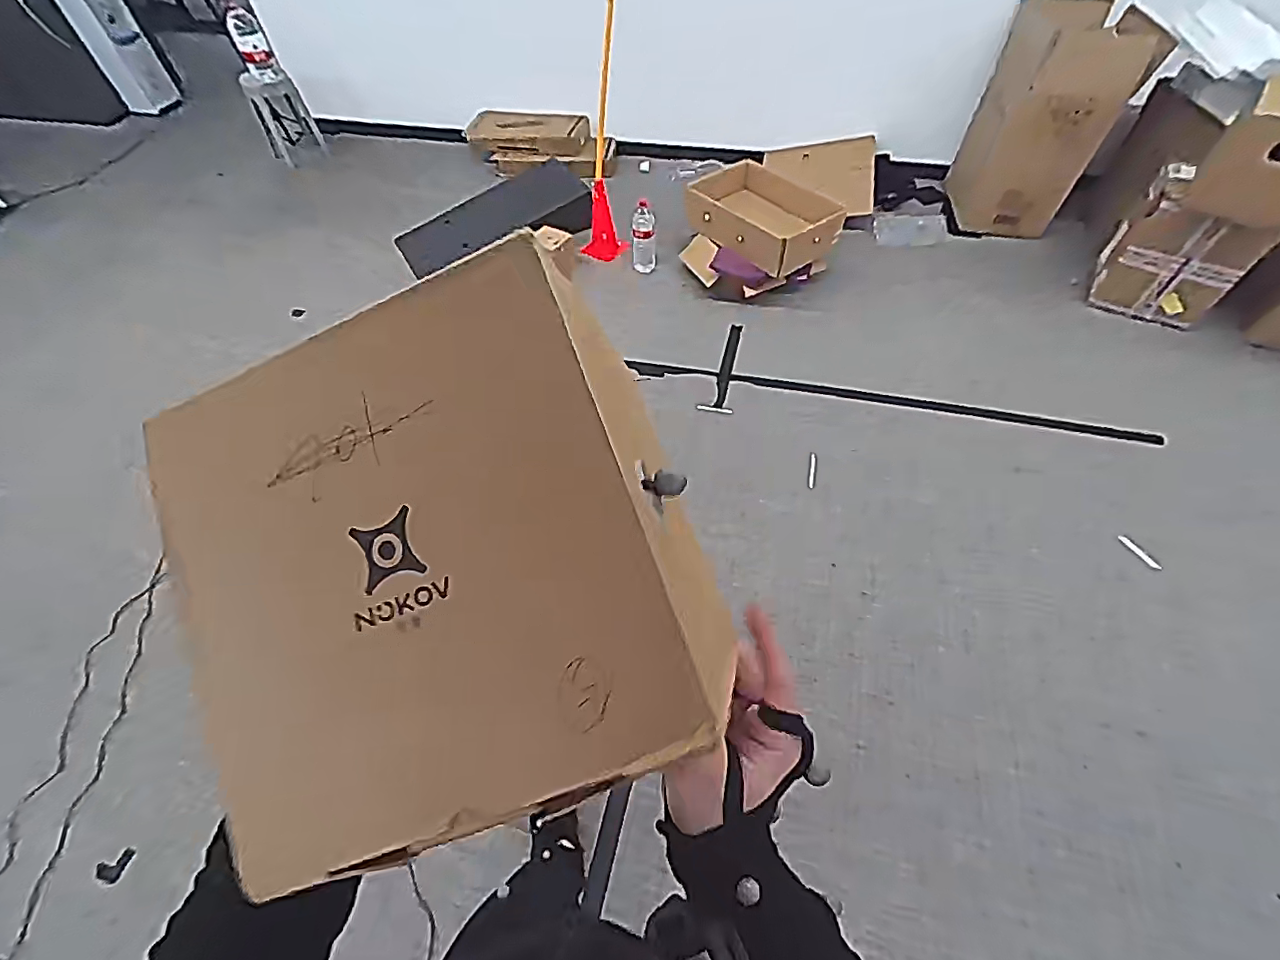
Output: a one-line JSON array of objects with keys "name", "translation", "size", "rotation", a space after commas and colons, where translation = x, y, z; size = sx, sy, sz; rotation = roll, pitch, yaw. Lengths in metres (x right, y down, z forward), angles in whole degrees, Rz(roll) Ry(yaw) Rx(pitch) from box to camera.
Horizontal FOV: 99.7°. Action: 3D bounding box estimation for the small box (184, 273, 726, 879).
[{"name": "small box", "translation": [-0.064, 0.041, 0.272], "size": [0.168, 0.176, 0.179], "rotation": [-24, 79, 8]}]
